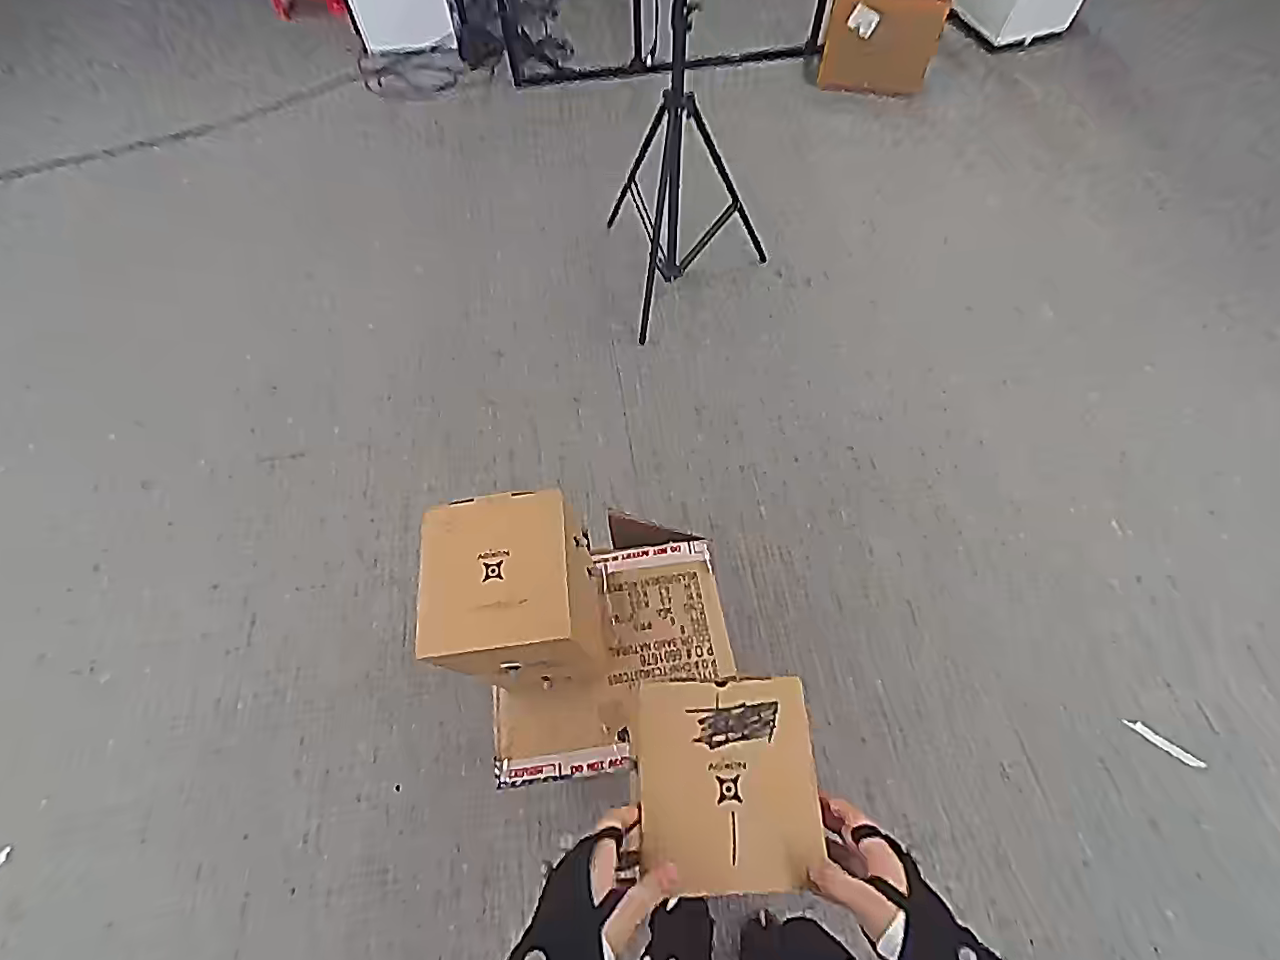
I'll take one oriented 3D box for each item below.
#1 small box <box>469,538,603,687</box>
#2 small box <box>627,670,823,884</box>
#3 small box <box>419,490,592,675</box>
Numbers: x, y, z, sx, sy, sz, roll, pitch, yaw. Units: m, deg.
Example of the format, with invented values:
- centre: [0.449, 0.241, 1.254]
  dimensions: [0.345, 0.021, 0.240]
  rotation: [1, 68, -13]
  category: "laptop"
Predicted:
- centre: [-0.151, 0.204, 0.817]
  dimensions: [0.168, 0.176, 0.179]
  rotation: [-8, 64, -1]
  category: "small box"
- centre: [0.073, 0.308, 0.581]
  dimensions: [0.168, 0.176, 0.179]
  rotation: [0, 64, -4]
  category: "small box"
- centre: [-0.156, 0.133, 0.671]
  dimensions: [0.168, 0.176, 0.179]
  rotation: [-8, 65, 0]
  category: "small box"
